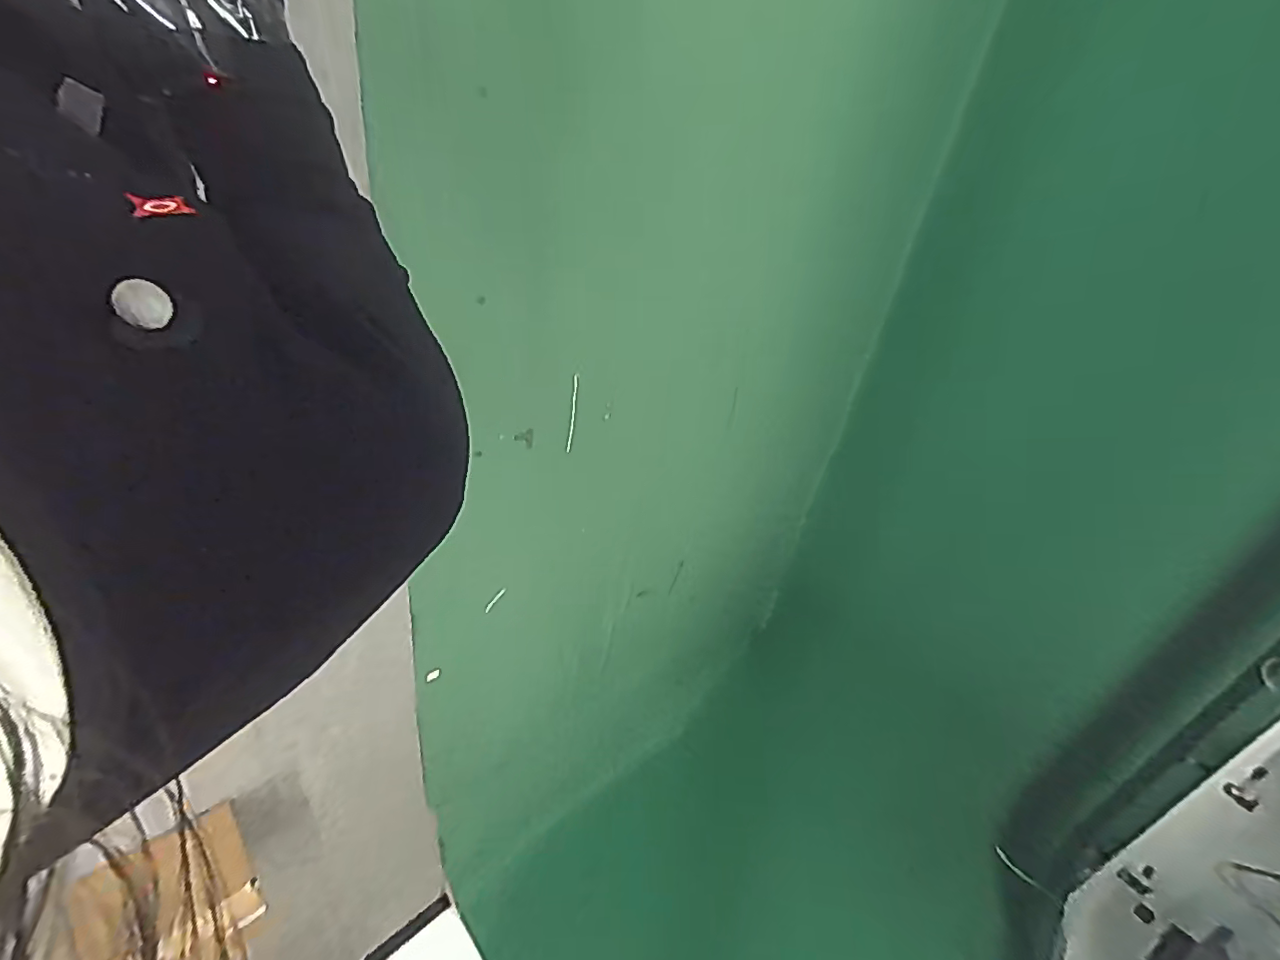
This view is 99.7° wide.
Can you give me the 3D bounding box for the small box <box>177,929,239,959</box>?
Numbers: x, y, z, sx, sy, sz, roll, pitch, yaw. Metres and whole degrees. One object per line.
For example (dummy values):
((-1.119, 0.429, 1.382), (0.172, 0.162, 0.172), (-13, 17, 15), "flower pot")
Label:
((-1.205, 1.410, 1.485), (0.179, 0.176, 0.168), (-14, 123, -45), "small box")
